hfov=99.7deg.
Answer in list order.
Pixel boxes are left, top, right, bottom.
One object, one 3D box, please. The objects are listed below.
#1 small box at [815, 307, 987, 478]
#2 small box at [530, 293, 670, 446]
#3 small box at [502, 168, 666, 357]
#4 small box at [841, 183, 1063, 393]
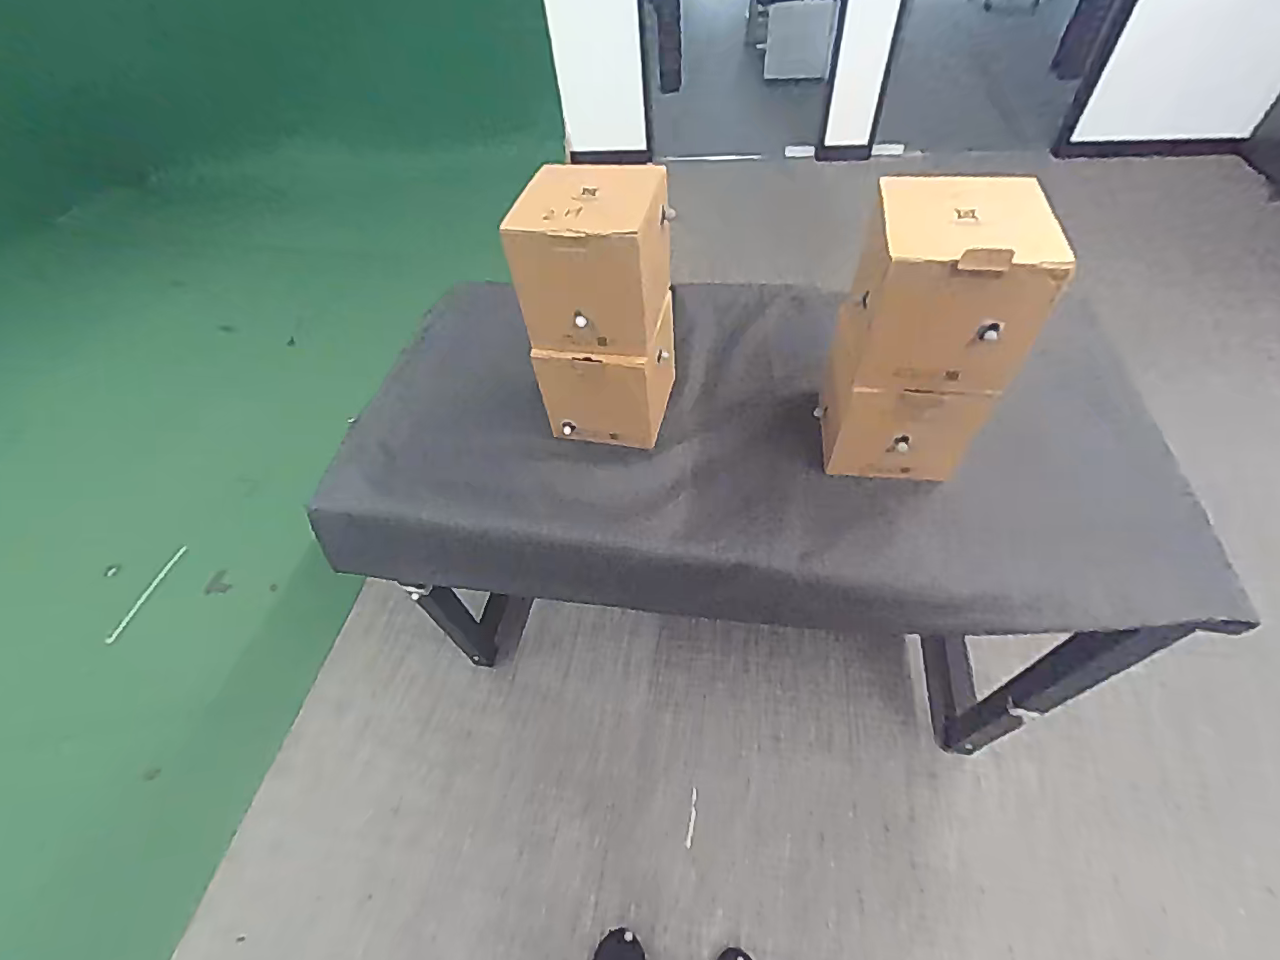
[{"bbox_3d":[0.346,-0.120,0.757,0.168,0.176,0.179,4,53,8],"label":"small box"},{"bbox_3d":[-0.048,-0.174,0.837,0.168,0.176,0.179,8,52,11],"label":"small box"},{"bbox_3d":[-0.059,-0.289,0.718,0.168,0.176,0.179,6,52,11],"label":"small box"},{"bbox_3d":[0.338,-0.220,0.629,0.168,0.176,0.179,6,52,10],"label":"small box"}]
